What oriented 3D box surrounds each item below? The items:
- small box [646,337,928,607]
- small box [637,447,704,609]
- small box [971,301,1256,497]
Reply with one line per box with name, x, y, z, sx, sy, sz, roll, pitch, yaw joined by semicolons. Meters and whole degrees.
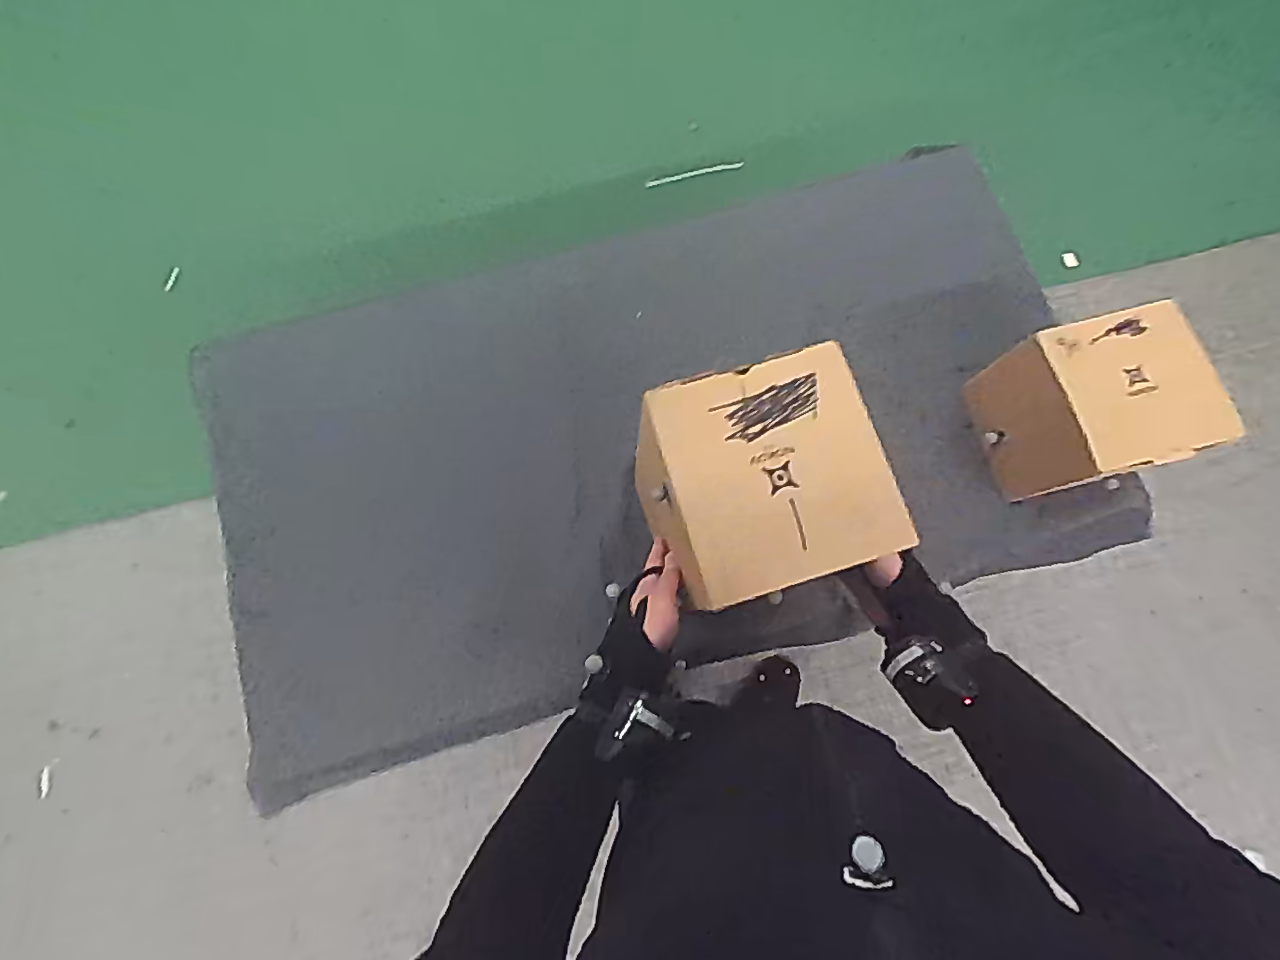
small box;0.105;0.006;0.478;0.168;0.176;0.179;-16;77;-5
small box;0.099;0.045;0.638;0.168;0.176;0.179;-17;75;-5
small box;0.554;-0.084;0.665;0.168;0.176;0.179;-14;76;-1
